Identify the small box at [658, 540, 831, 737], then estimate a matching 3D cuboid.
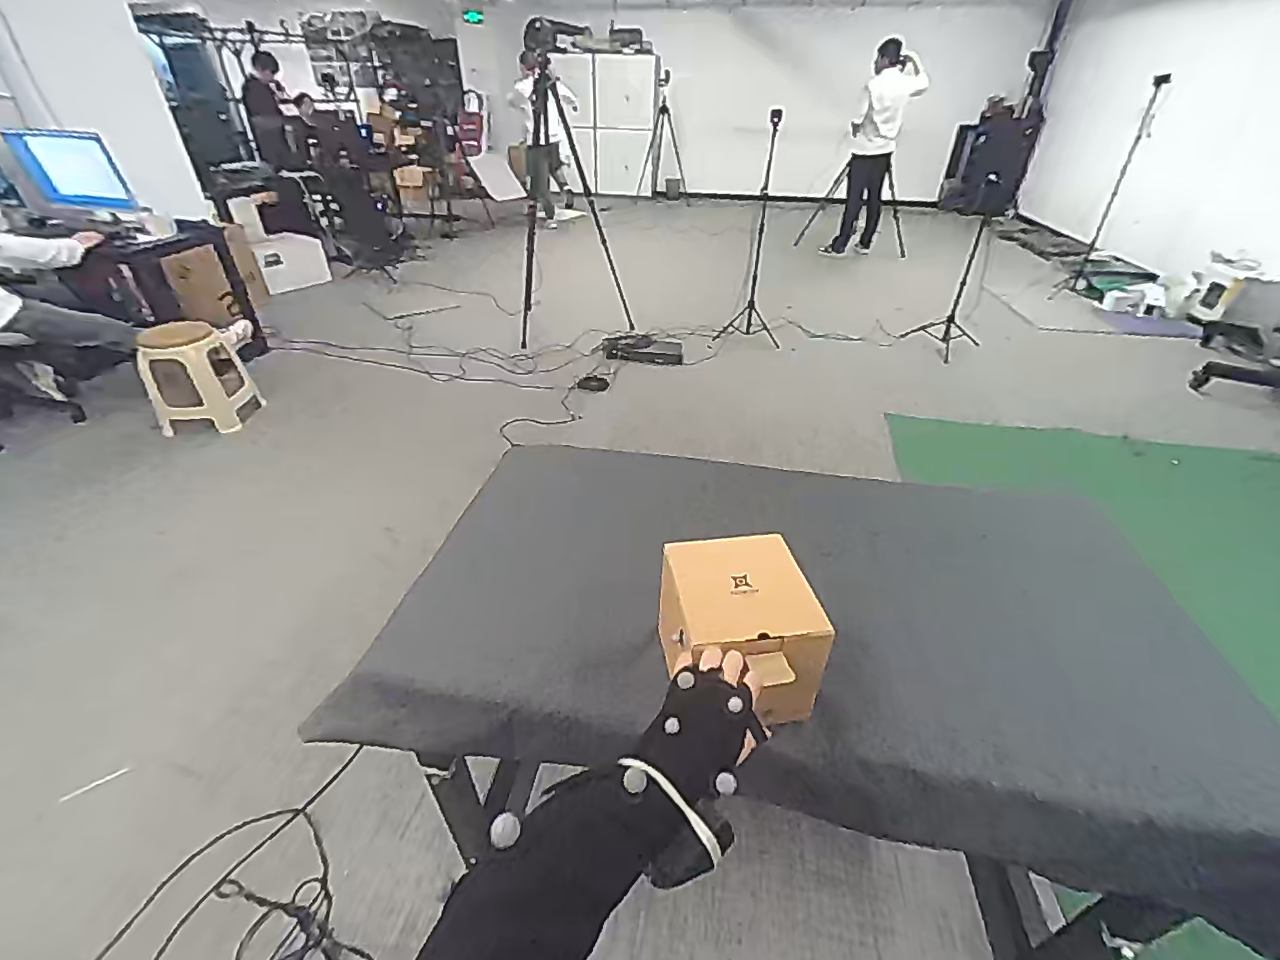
[{"bbox_3d":[0.120,0.202,0.706,0.168,0.176,0.179,-4,35,-8],"label":"small box"}]
